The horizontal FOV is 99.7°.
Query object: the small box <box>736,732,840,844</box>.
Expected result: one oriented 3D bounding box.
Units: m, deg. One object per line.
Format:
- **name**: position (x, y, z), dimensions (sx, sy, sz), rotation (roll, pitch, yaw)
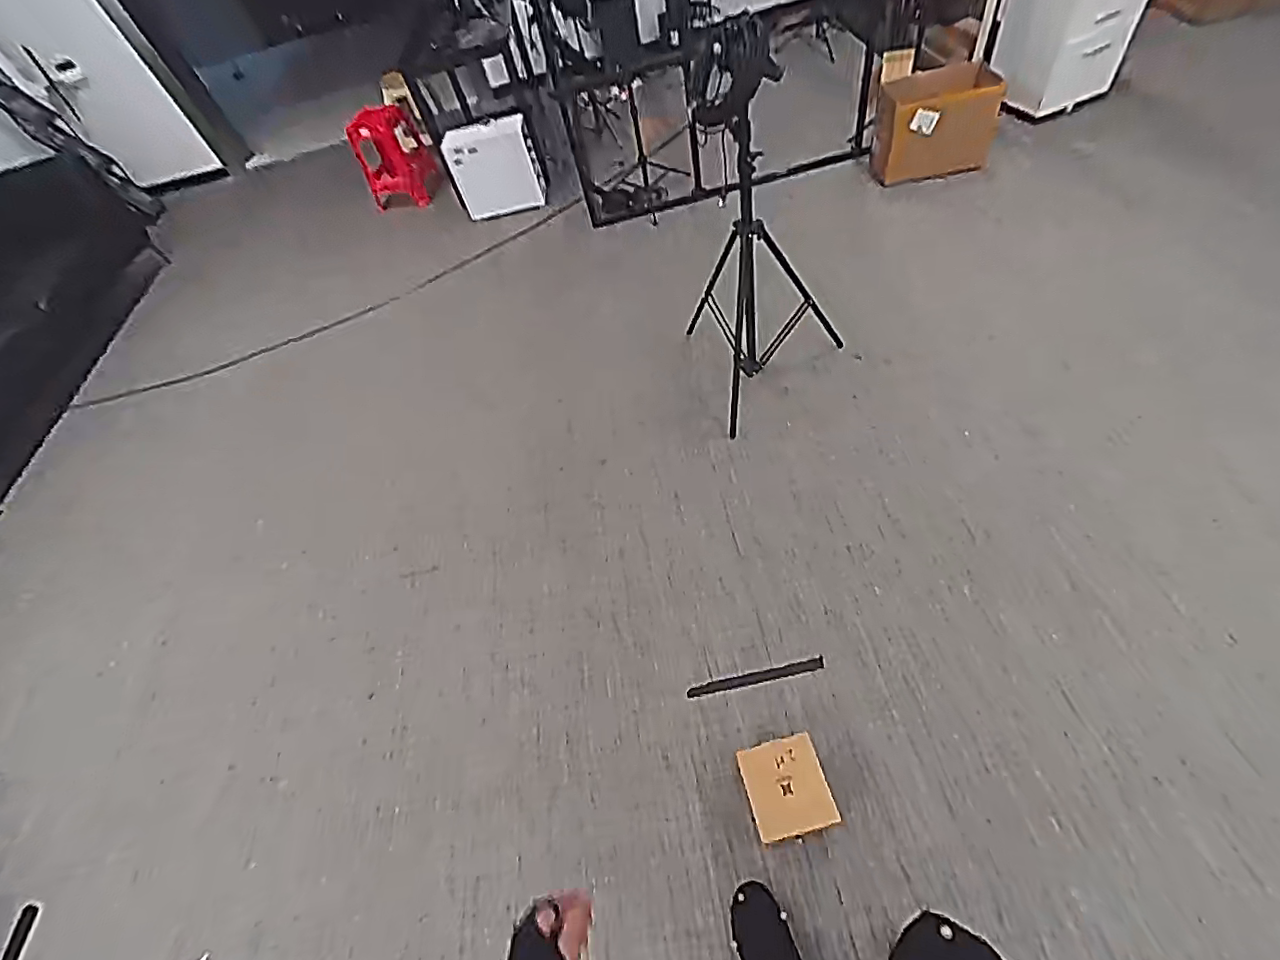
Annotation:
- **small box**: position (0.319, 0.677, 1.183), dimensions (0.168, 0.176, 0.179), rotation (-16, 52, 1)
